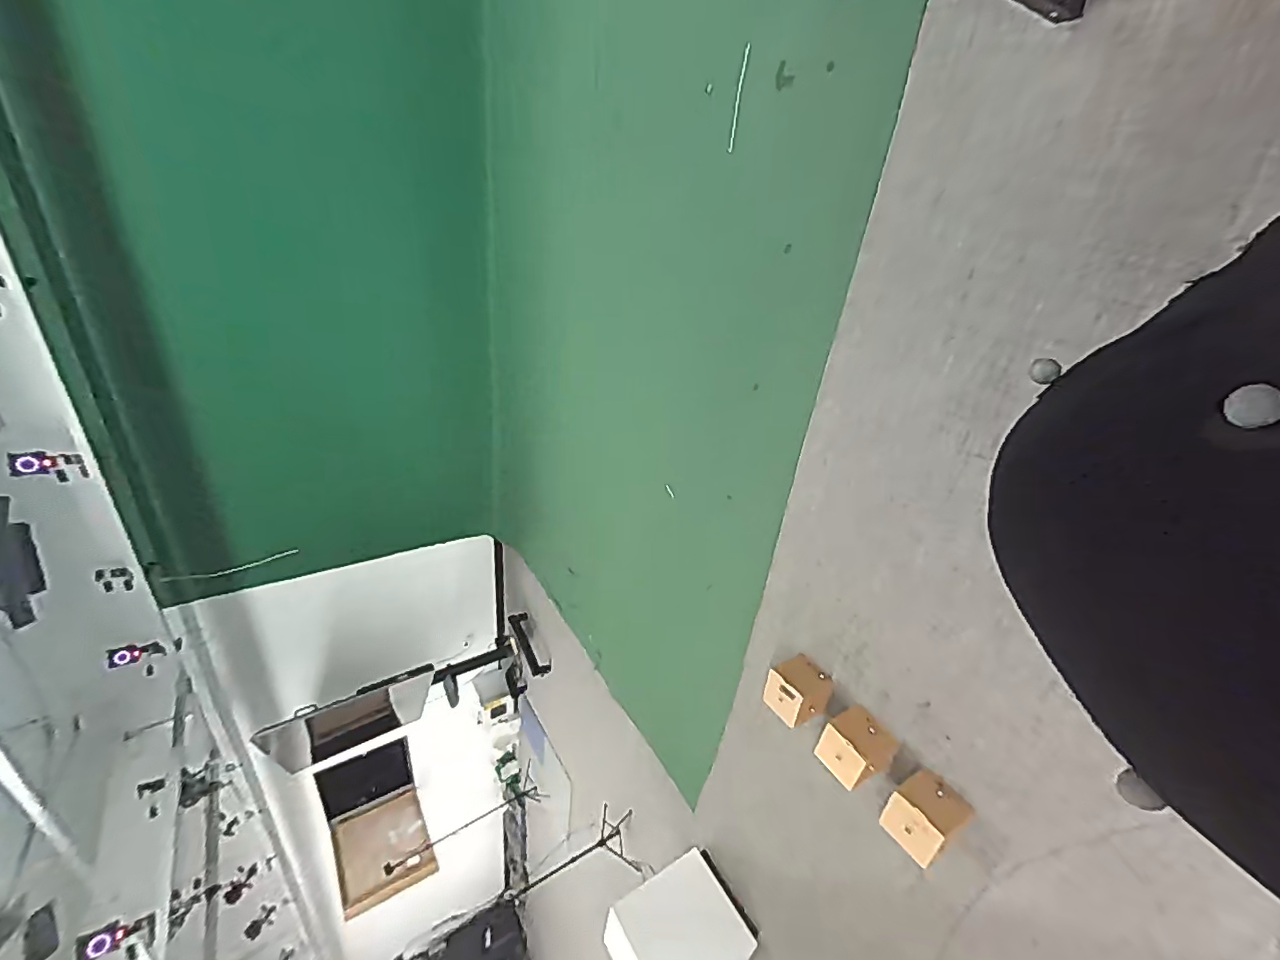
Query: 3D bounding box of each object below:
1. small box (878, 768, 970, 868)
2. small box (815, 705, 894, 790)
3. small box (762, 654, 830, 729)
[{"bbox_3d":[0.886,1.045,1.683,0.168,0.176,0.179,39,131,45],"label":"small box"},{"bbox_3d":[0.744,0.923,1.876,0.168,0.176,0.179,42,133,45],"label":"small box"},{"bbox_3d":[0.600,0.800,2.066,0.168,0.176,0.179,39,132,47],"label":"small box"}]
